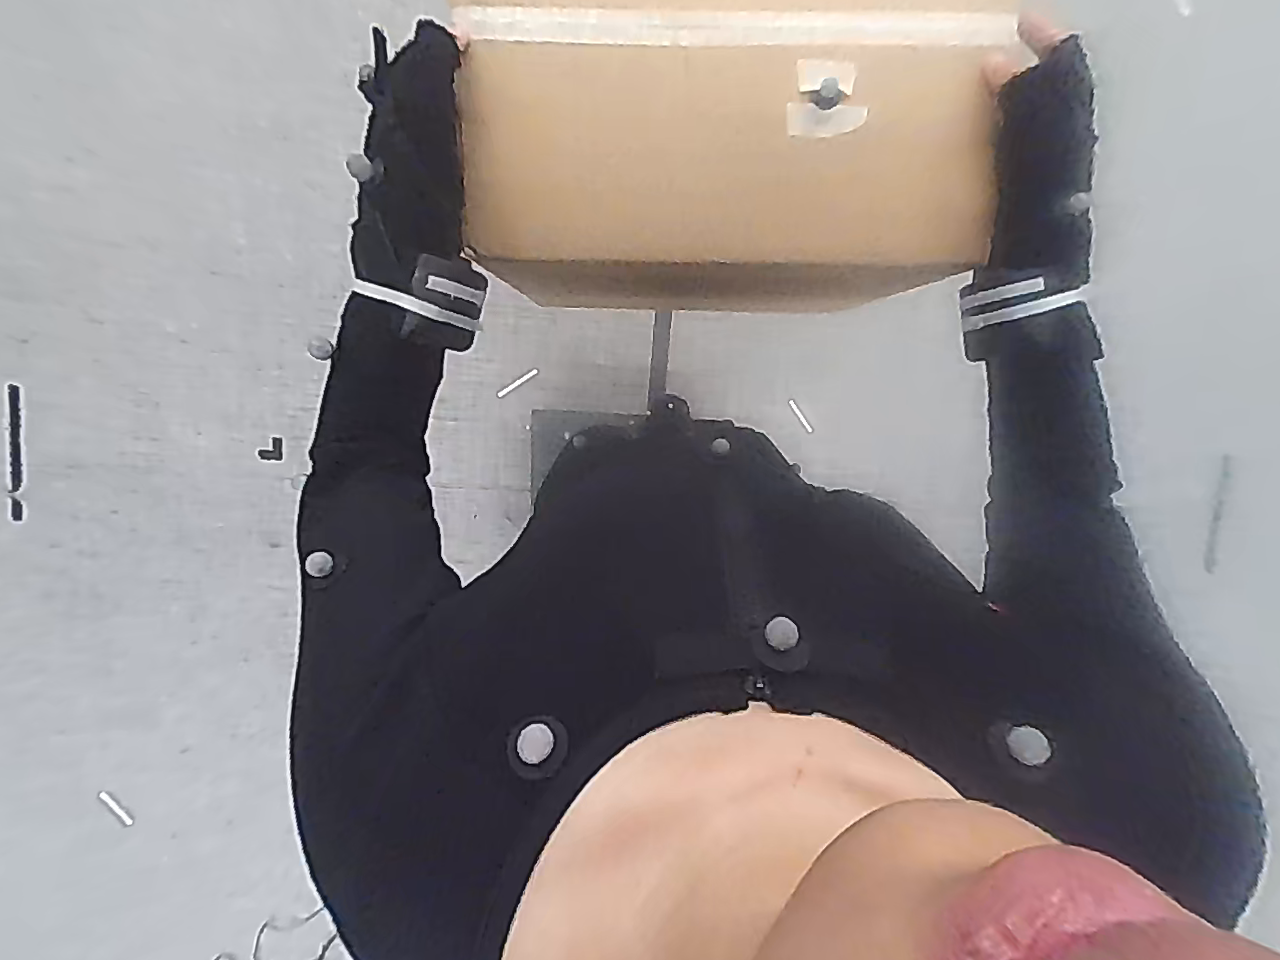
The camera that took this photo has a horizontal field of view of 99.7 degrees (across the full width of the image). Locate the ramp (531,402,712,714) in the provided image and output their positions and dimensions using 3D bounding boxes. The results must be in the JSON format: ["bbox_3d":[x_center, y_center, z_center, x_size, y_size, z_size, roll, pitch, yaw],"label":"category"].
[{"bbox_3d":[-0.074,0.276,1.604,0.509,0.206,0.991,1,97,-4],"label":"ramp"}]

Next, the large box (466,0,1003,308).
[{"bbox_3d":[0.066,-0.357,0.549,0.408,0.320,0.320,0,101,-1],"label":"large box"}]
